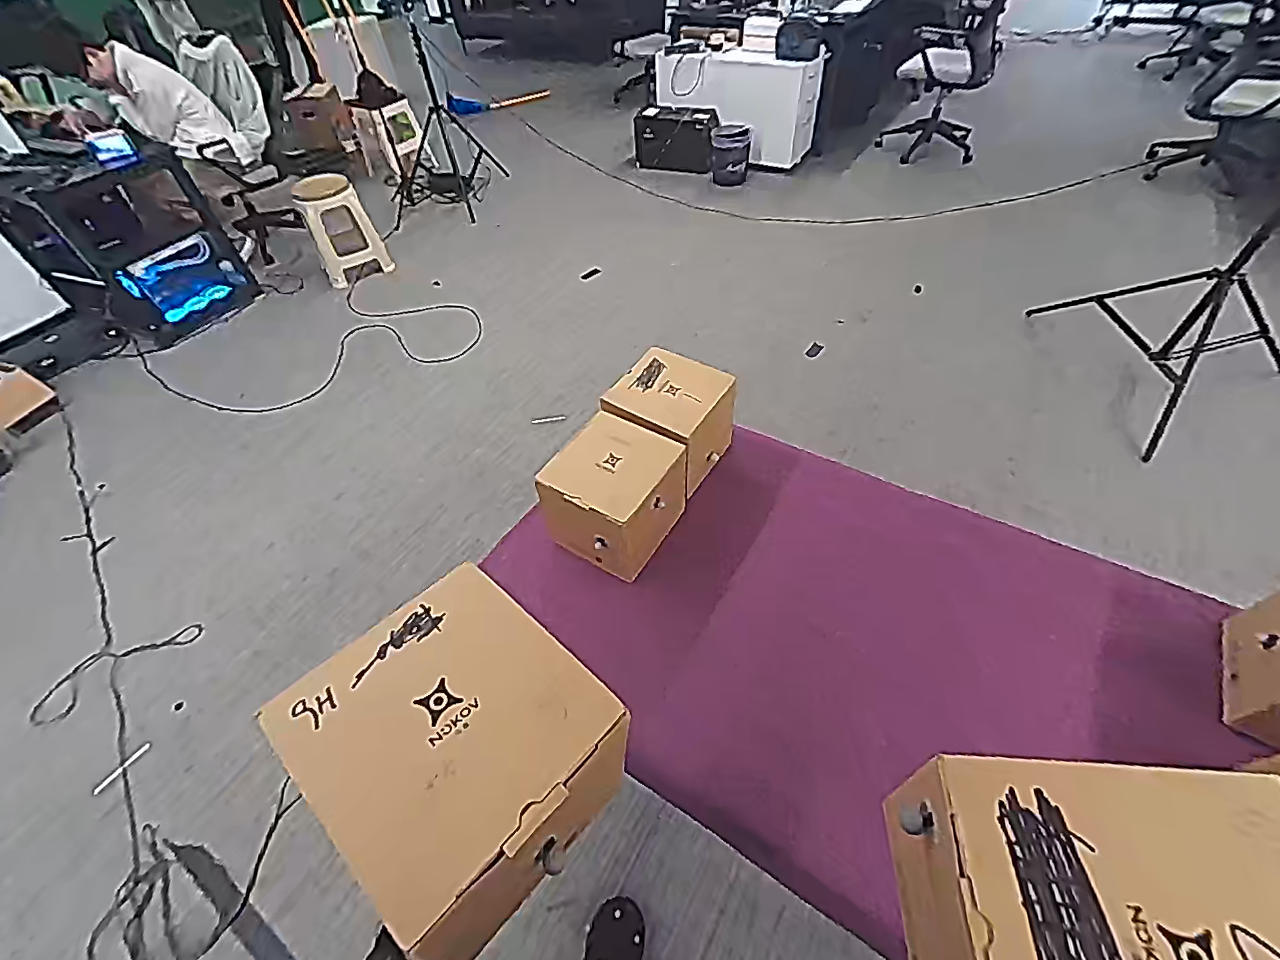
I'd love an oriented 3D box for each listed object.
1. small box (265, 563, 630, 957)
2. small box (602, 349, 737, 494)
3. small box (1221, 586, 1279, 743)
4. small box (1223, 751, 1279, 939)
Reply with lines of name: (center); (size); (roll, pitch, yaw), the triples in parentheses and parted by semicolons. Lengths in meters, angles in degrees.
small box: (-0.127, 0.204, 0.407); (0.179, 0.176, 0.168); (35, 53, 25)
small box: (0.054, -0.102, 0.976); (0.179, 0.176, 0.168); (27, 58, 23)
small box: (0.842, 0.230, 0.630); (0.179, 0.176, 0.168); (25, 57, 23)
small box: (0.723, 0.382, 0.518); (0.168, 0.176, 0.179); (28, 56, 26)
